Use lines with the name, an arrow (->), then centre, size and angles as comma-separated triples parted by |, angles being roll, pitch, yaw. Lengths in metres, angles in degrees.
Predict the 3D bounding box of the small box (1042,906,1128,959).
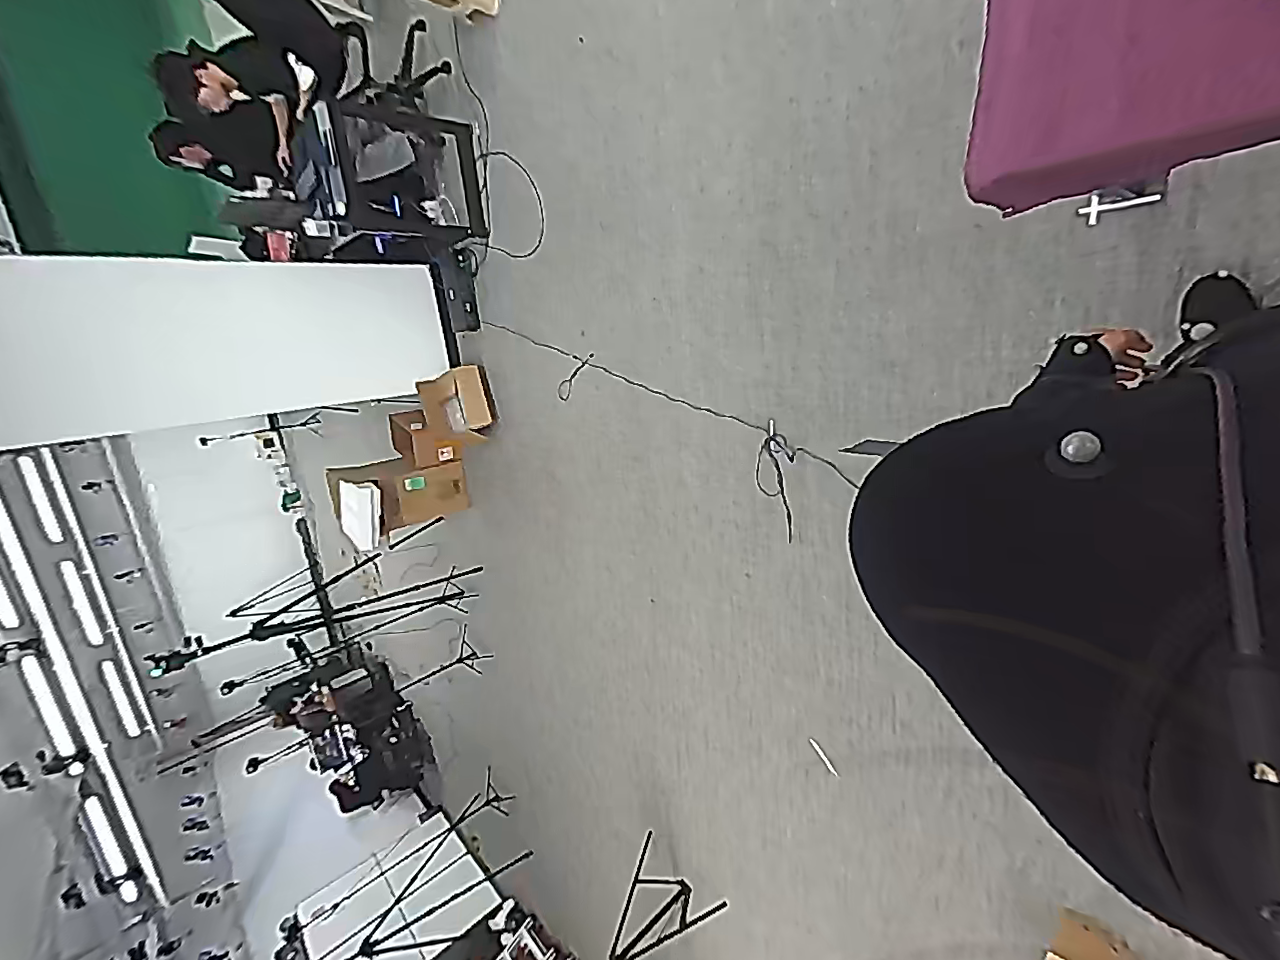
small box -> 1.281, 1.403, 1.566 | 0.168, 0.176, 0.179 | 16, 117, 46
